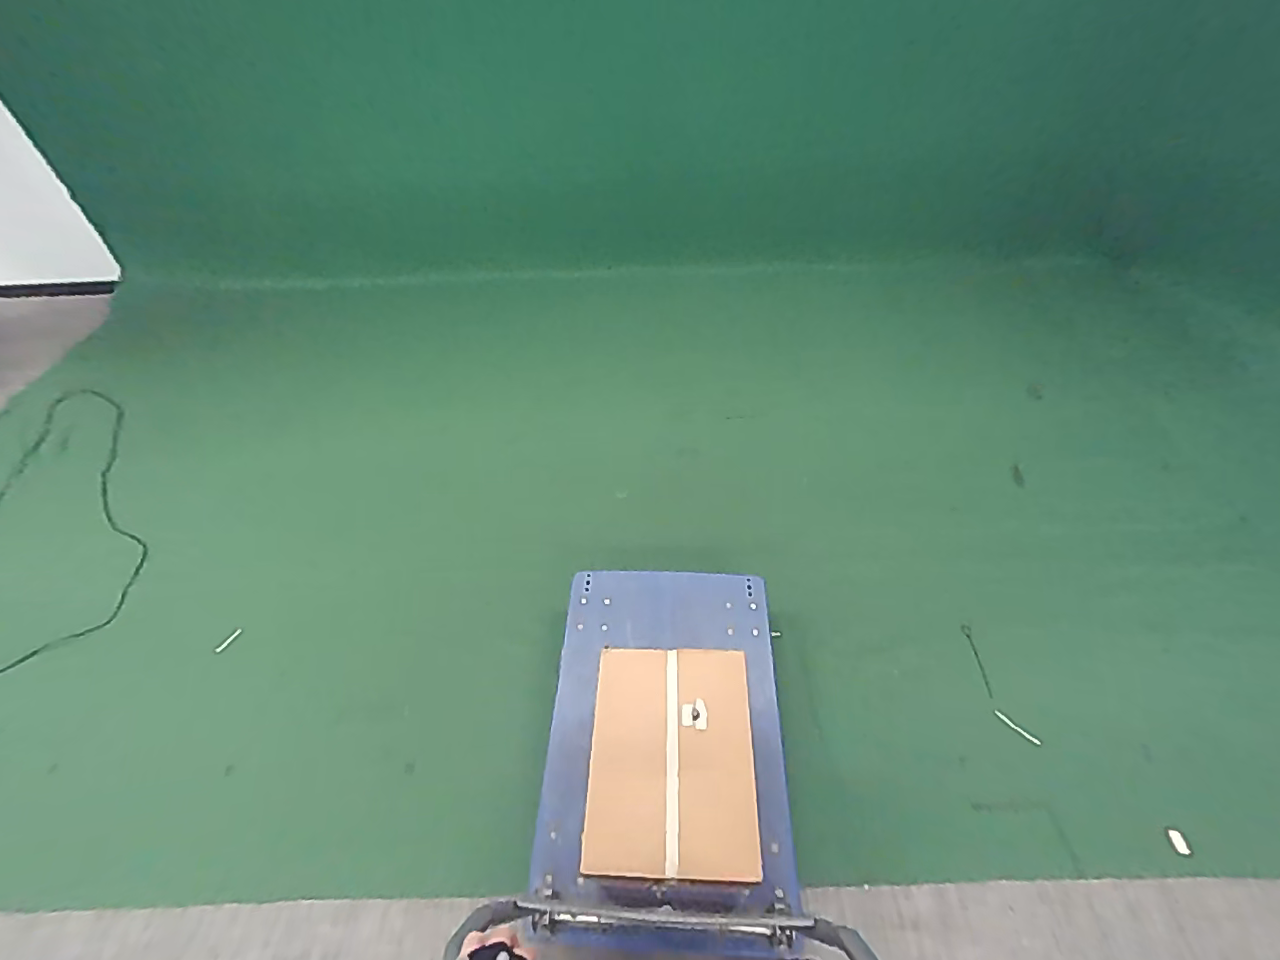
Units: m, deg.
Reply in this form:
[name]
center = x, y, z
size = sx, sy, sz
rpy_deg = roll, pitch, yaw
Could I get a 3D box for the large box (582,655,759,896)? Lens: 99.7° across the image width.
[large box]
center = 0.064, 0.633, 1.165
size = 0.320, 0.320, 0.408
rpy_deg = 1, 49, 3
